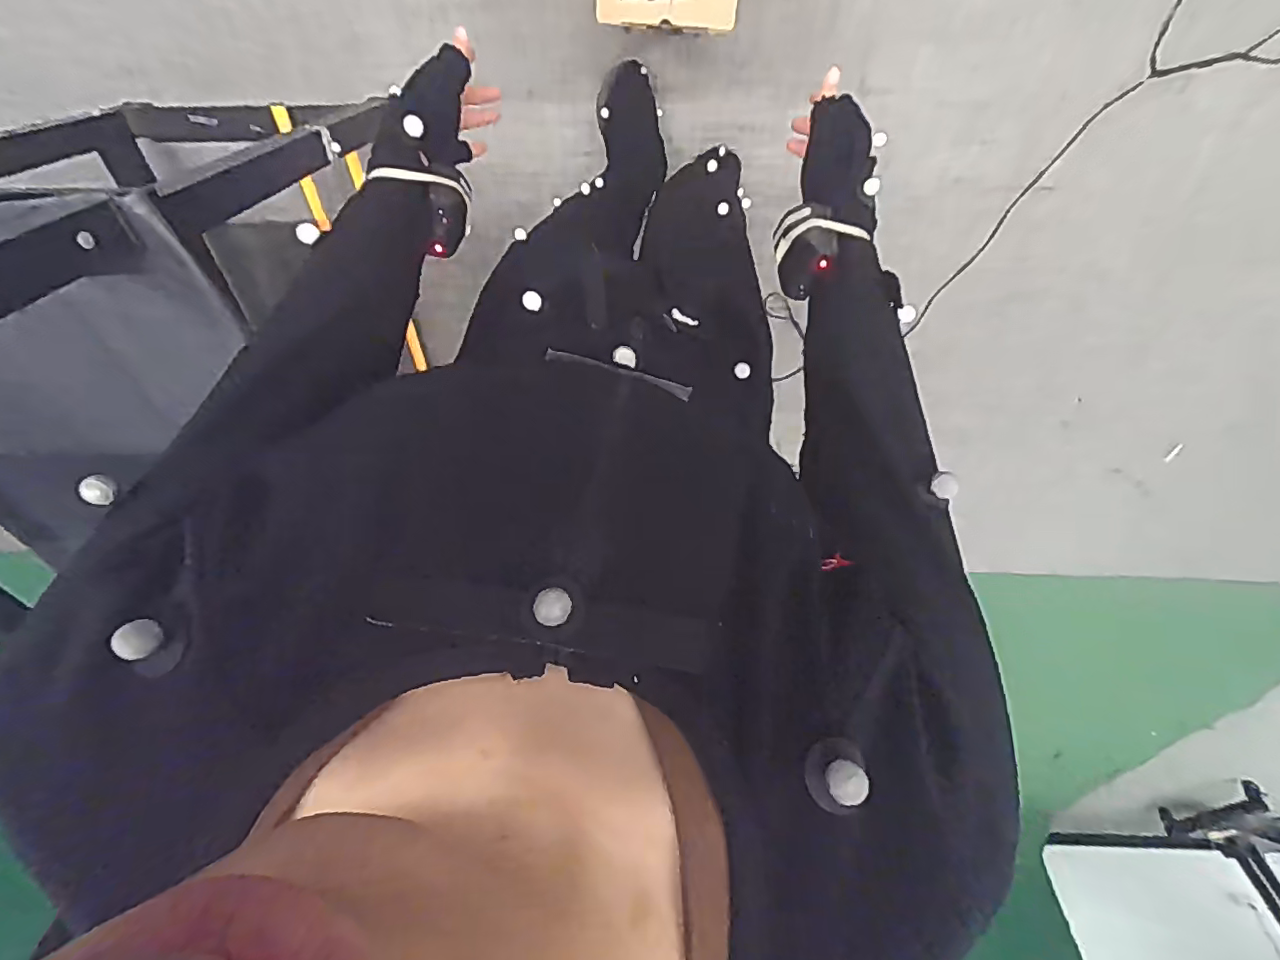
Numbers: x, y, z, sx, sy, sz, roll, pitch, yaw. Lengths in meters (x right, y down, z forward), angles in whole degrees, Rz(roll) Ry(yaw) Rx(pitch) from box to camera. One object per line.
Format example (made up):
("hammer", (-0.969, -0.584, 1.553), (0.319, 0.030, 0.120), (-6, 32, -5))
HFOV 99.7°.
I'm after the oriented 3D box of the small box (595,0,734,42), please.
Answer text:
("small box", (0.035, -0.653, 0.652), (0.168, 0.176, 0.179), (3, 132, -1))
